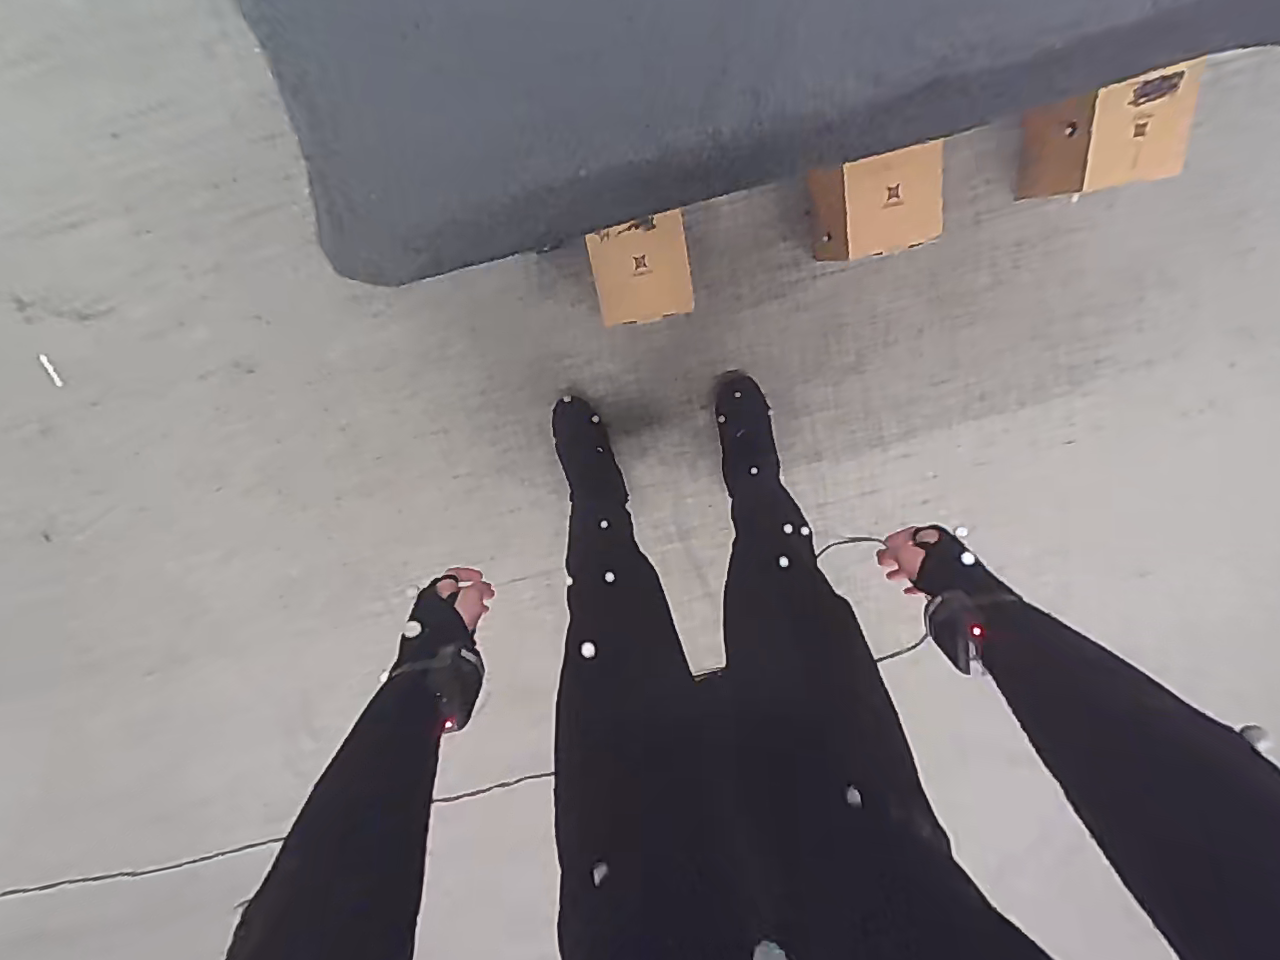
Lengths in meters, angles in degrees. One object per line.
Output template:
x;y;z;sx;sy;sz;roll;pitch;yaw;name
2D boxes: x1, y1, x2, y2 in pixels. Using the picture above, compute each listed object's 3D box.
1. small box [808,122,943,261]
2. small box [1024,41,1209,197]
0.414;-0.501;0.968;0.168;0.176;0.179;-14;109;3;small box
0.801;-0.607;0.931;0.168;0.176;0.179;-10;112;3;small box
